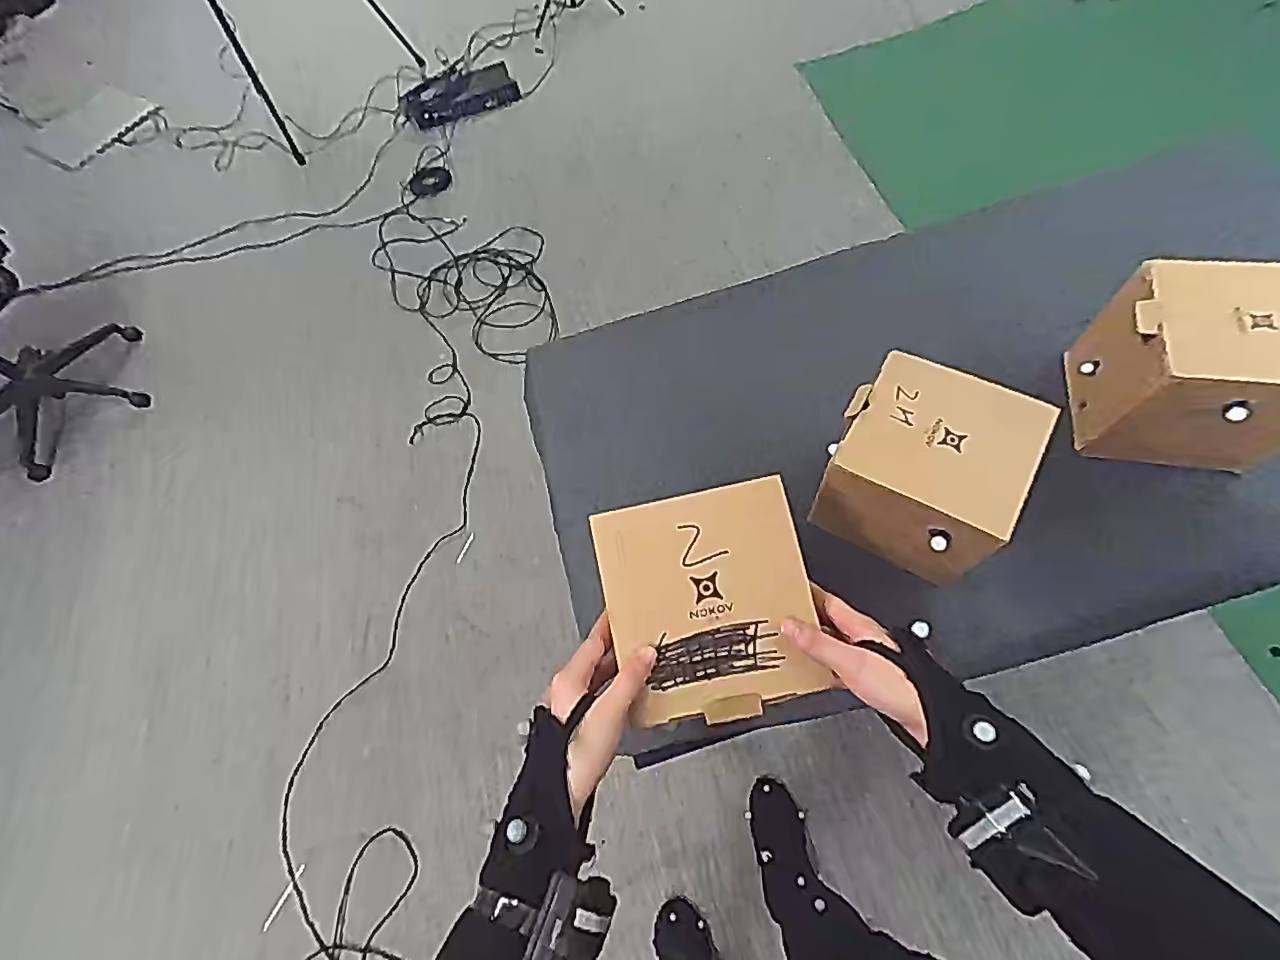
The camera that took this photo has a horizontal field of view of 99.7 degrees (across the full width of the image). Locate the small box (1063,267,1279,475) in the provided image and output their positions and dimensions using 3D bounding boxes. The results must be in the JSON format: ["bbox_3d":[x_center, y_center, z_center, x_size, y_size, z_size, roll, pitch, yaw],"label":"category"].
[{"bbox_3d":[0.639,-0.119,0.627,0.179,0.176,0.168,8,65,13],"label":"small box"}]

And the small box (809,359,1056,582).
[{"bbox_3d":[0.316,0.000,0.620,0.179,0.176,0.168,28,71,20],"label":"small box"}]
